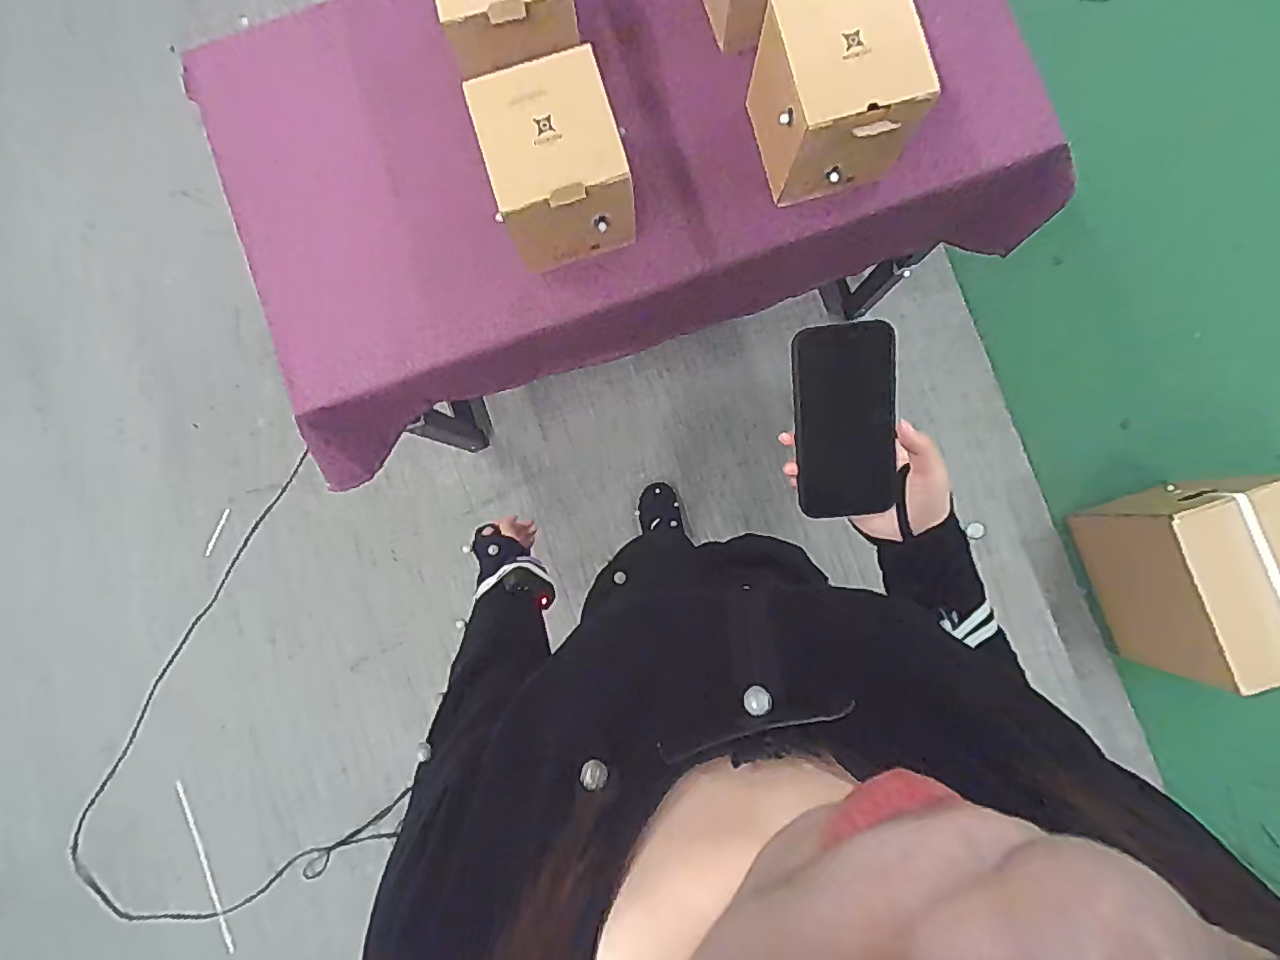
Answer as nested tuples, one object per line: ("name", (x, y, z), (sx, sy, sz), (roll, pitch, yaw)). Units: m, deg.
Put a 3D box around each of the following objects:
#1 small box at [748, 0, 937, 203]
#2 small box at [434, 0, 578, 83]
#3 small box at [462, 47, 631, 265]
("small box", (0.254, -0.513, 0.723), (0.168, 0.176, 0.179), (-15, 87, 1))
("small box", (-0.182, -0.651, 0.742), (0.168, 0.176, 0.179), (-13, 87, 1))
("small box", (-0.113, -0.414, 0.728), (0.168, 0.176, 0.179), (-17, 85, 0))
